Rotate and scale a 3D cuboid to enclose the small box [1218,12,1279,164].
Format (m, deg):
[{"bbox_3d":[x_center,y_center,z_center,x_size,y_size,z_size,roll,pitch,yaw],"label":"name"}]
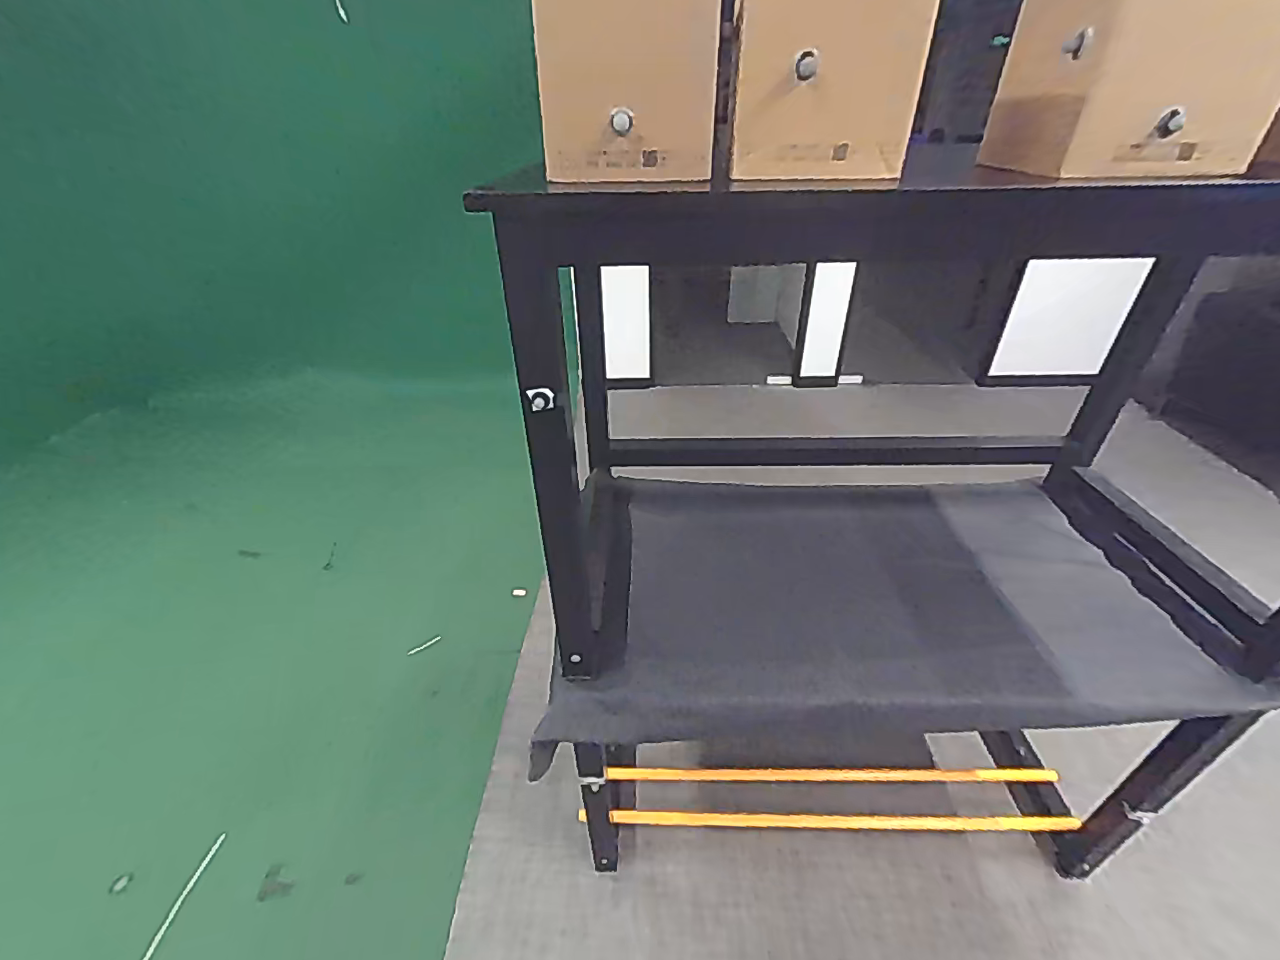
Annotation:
[{"bbox_3d":[0.748,-0.404,0.521,0.168,0.176,0.179,5,34,9],"label":"small box"}]

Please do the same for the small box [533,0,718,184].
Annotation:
[{"bbox_3d":[-0.015,-0.417,0.569,0.168,0.176,0.179,-1,35,0],"label":"small box"}]
